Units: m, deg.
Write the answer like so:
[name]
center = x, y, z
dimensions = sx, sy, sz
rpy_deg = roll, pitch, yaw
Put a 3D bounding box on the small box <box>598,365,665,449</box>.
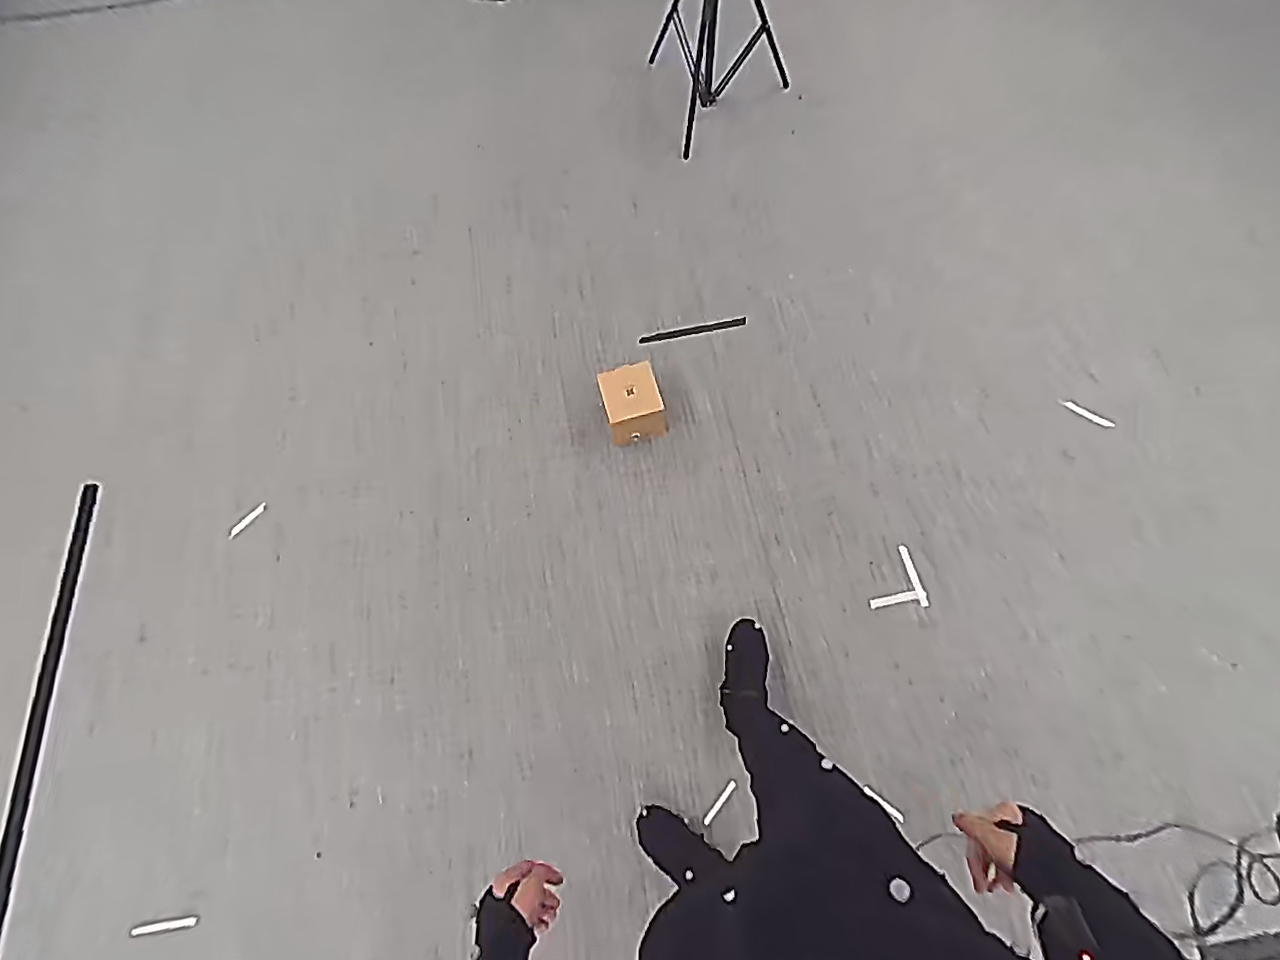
[small box]
center = -0.024, -0.221, 1.662
dimensions = 0.168, 0.176, 0.179
rpy_deg = -16, 69, -3
